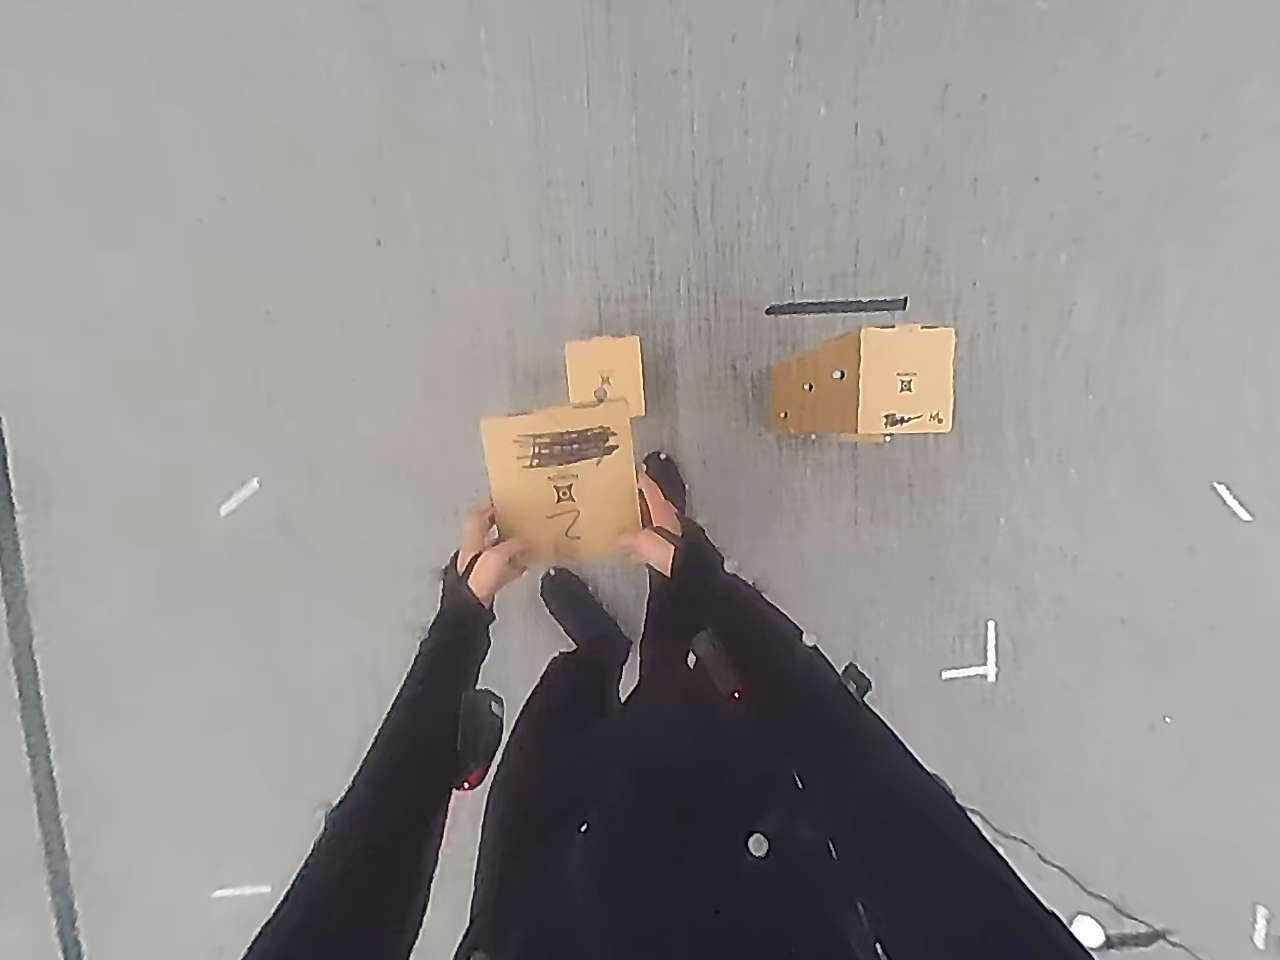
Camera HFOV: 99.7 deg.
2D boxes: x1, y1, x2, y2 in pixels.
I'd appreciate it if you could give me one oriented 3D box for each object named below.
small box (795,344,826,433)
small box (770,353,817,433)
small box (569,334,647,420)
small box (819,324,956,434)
[{"bbox_3d":[0.435,-0.188,1.133,0.168,0.176,0.179,-1,95,-5],"label":"small box"},{"bbox_3d":[0.416,-0.203,1.296,0.168,0.176,0.179,0,96,-4],"label":"small box"},{"bbox_3d":[-0.076,-0.234,1.258,0.168,0.176,0.179,-4,95,-3],"label":"small box"},{"bbox_3d":[0.433,-0.173,0.968,0.168,0.176,0.179,-1,95,-4],"label":"small box"}]
